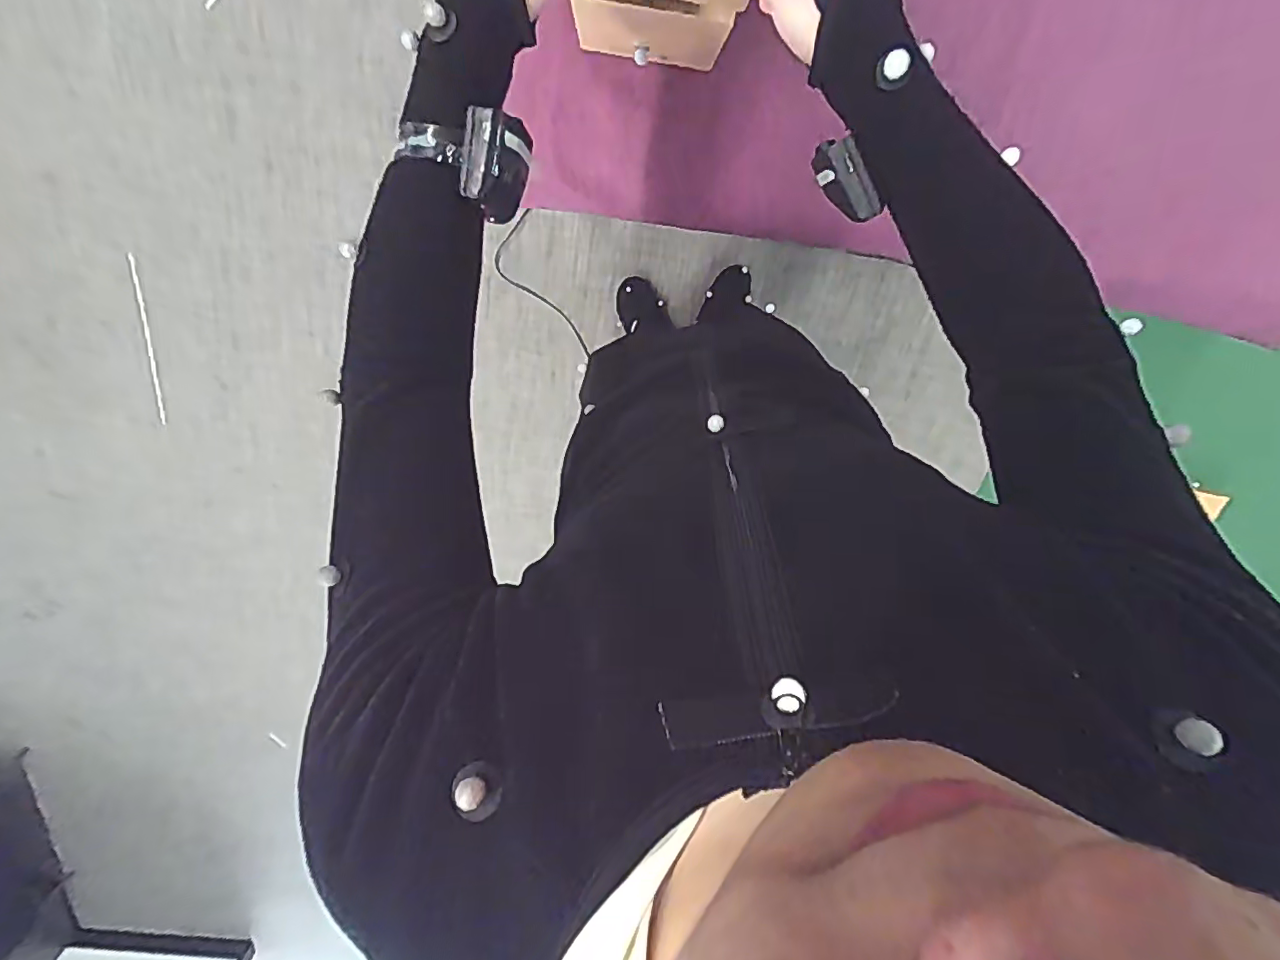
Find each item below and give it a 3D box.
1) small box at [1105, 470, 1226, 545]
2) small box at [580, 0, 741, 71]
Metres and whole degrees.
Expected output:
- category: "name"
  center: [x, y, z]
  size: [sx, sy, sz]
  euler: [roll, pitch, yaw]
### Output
- category: "small box"
  center: [1.619, 0.079, 1.680]
  size: [0.179, 0.176, 0.168]
  euler: [10, 112, -6]
- category: "small box"
  center: [0.025, -0.568, 0.565]
  size: [0.168, 0.176, 0.179]
  euler: [7, 114, -4]
